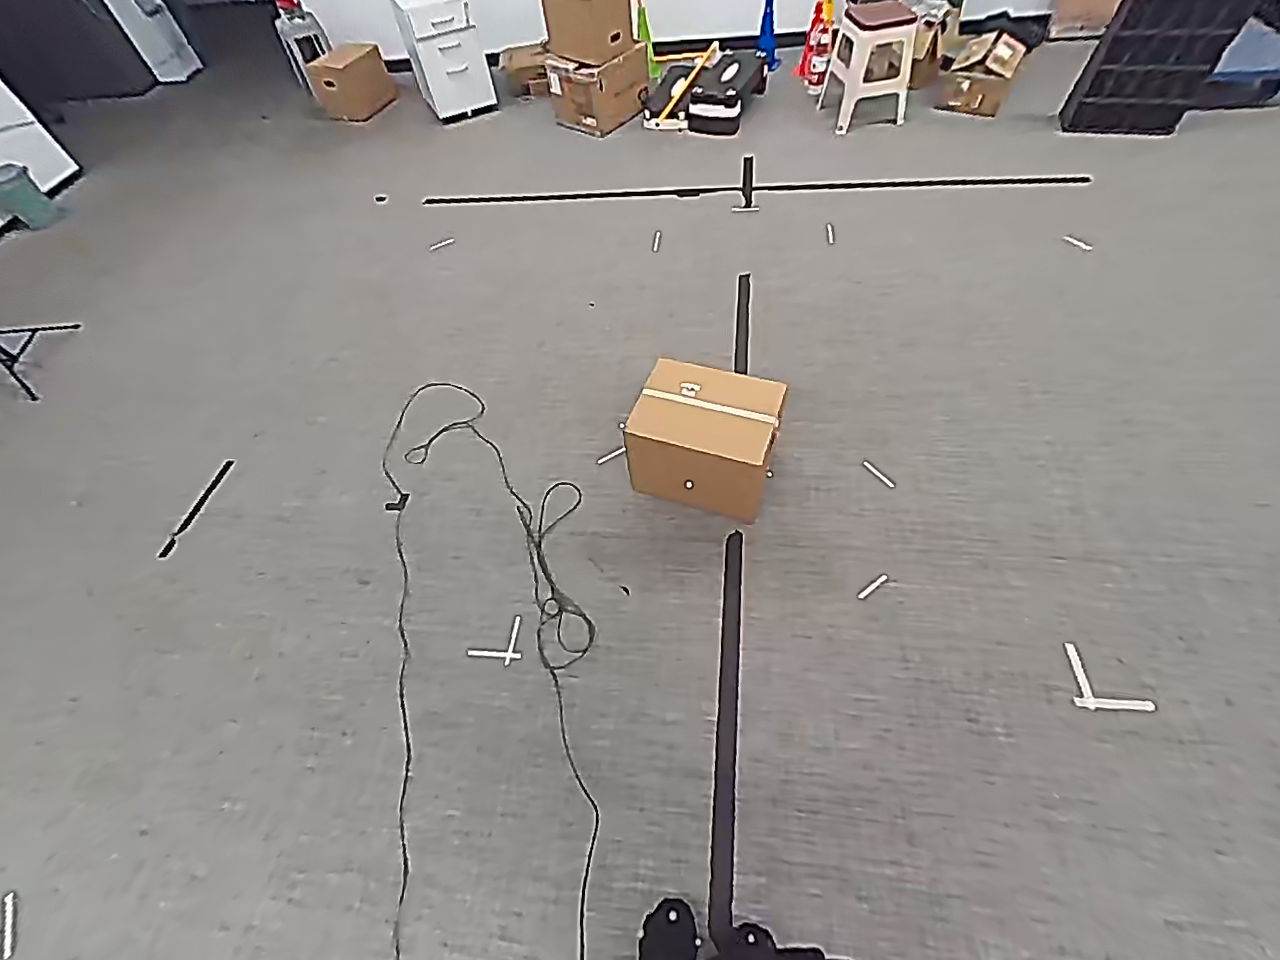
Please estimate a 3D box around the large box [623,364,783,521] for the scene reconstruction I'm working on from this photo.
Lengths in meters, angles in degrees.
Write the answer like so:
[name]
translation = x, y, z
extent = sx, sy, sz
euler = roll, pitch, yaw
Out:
[large box]
translation = 0.203, -0.114, 1.686
extent = 0.408, 0.320, 0.320
euler = 15, 58, 16
